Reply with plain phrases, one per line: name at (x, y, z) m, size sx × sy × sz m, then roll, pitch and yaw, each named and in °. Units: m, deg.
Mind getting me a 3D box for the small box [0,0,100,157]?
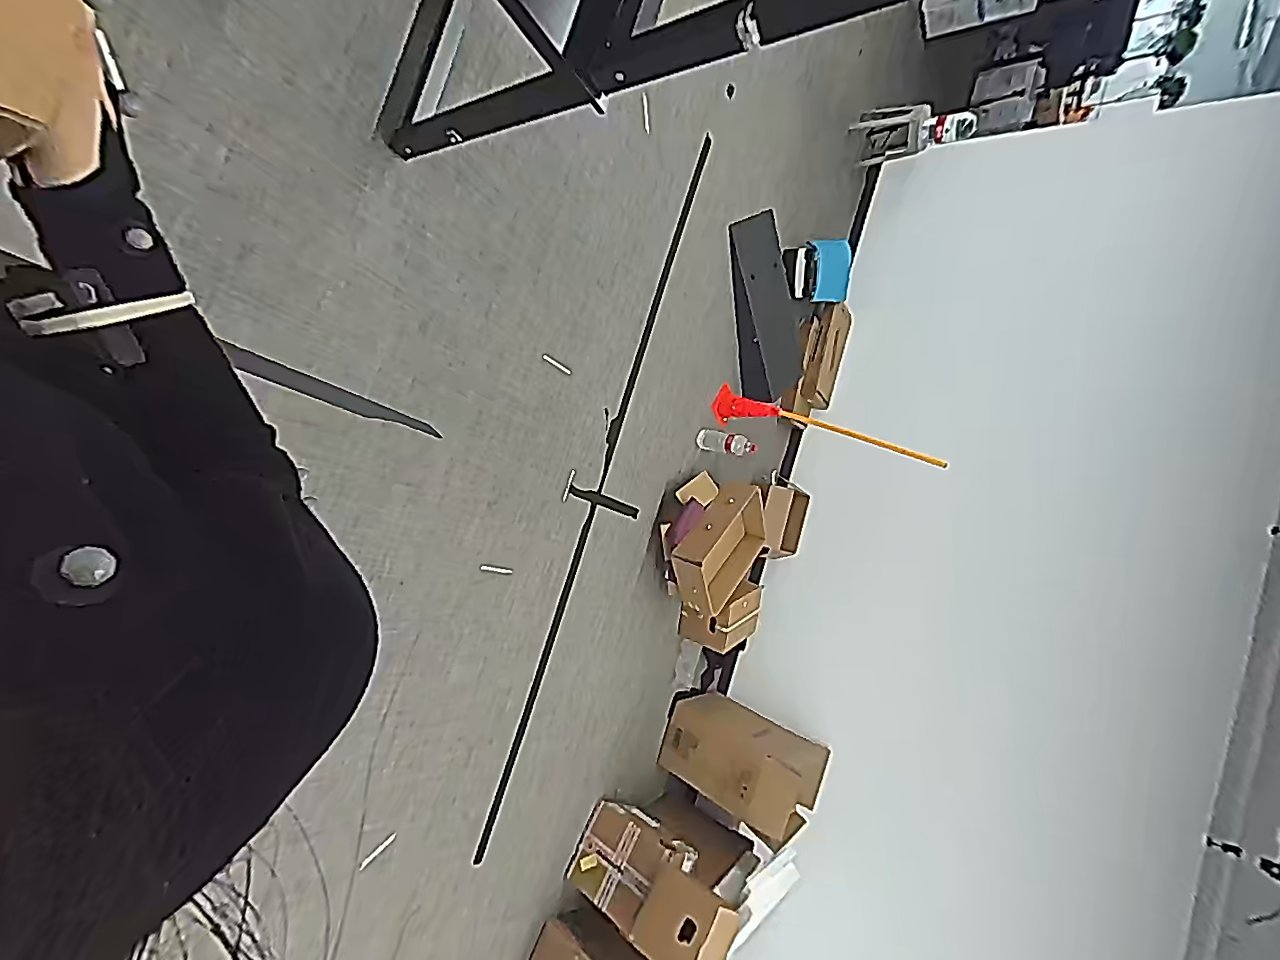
small box at (-0.323, -0.251, 0.200) m, size 0.168 × 0.176 × 0.179 m, roll 12°, pitch 95°, yaw -57°
